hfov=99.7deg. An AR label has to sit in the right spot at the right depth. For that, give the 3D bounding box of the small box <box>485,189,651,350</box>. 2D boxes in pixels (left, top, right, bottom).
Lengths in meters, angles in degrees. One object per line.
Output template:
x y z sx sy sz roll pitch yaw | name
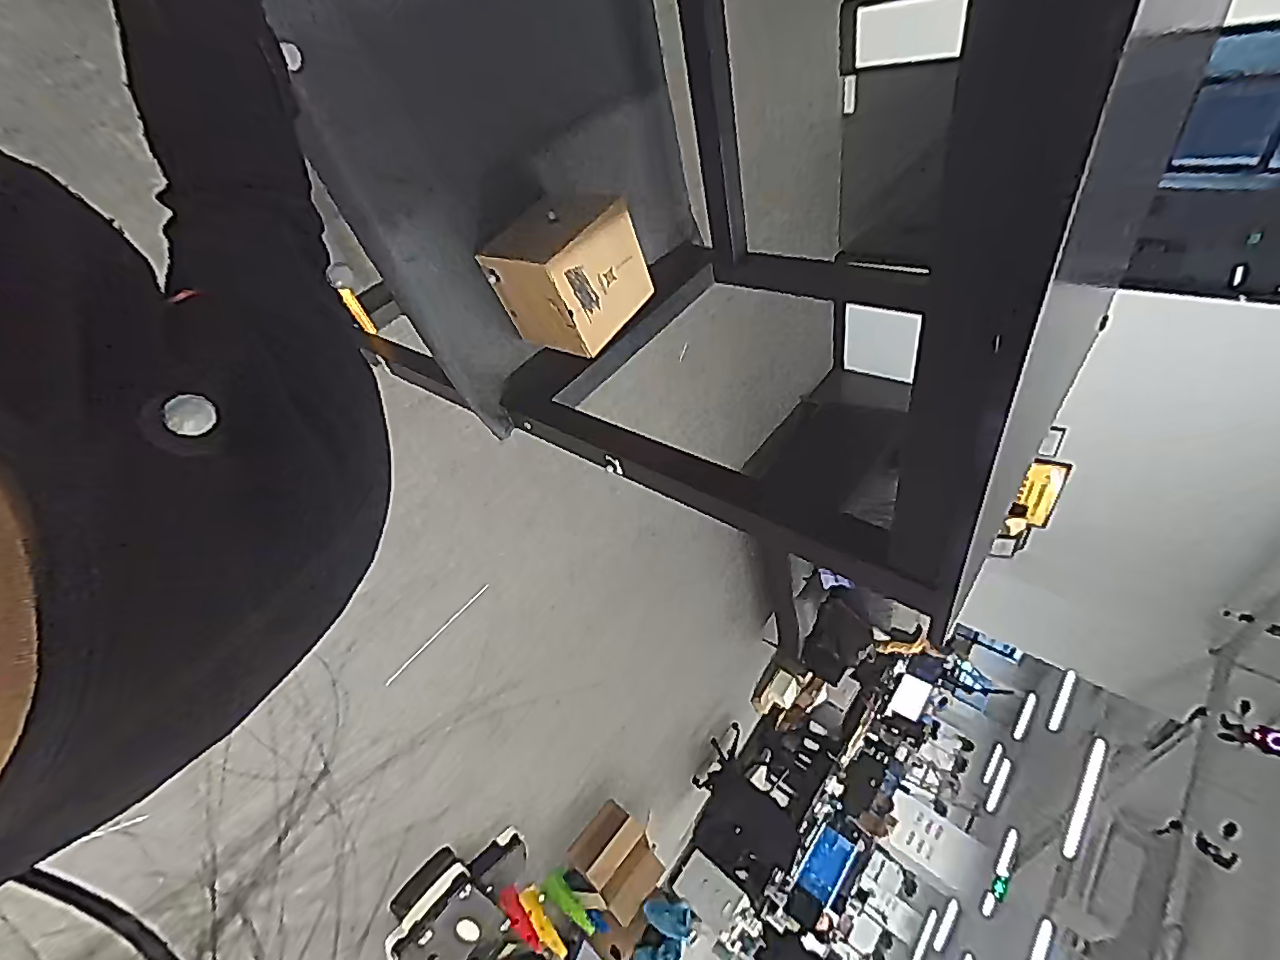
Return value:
-0.117 -0.334 0.856 0.179 0.176 0.168 -51 142 -21 | small box
